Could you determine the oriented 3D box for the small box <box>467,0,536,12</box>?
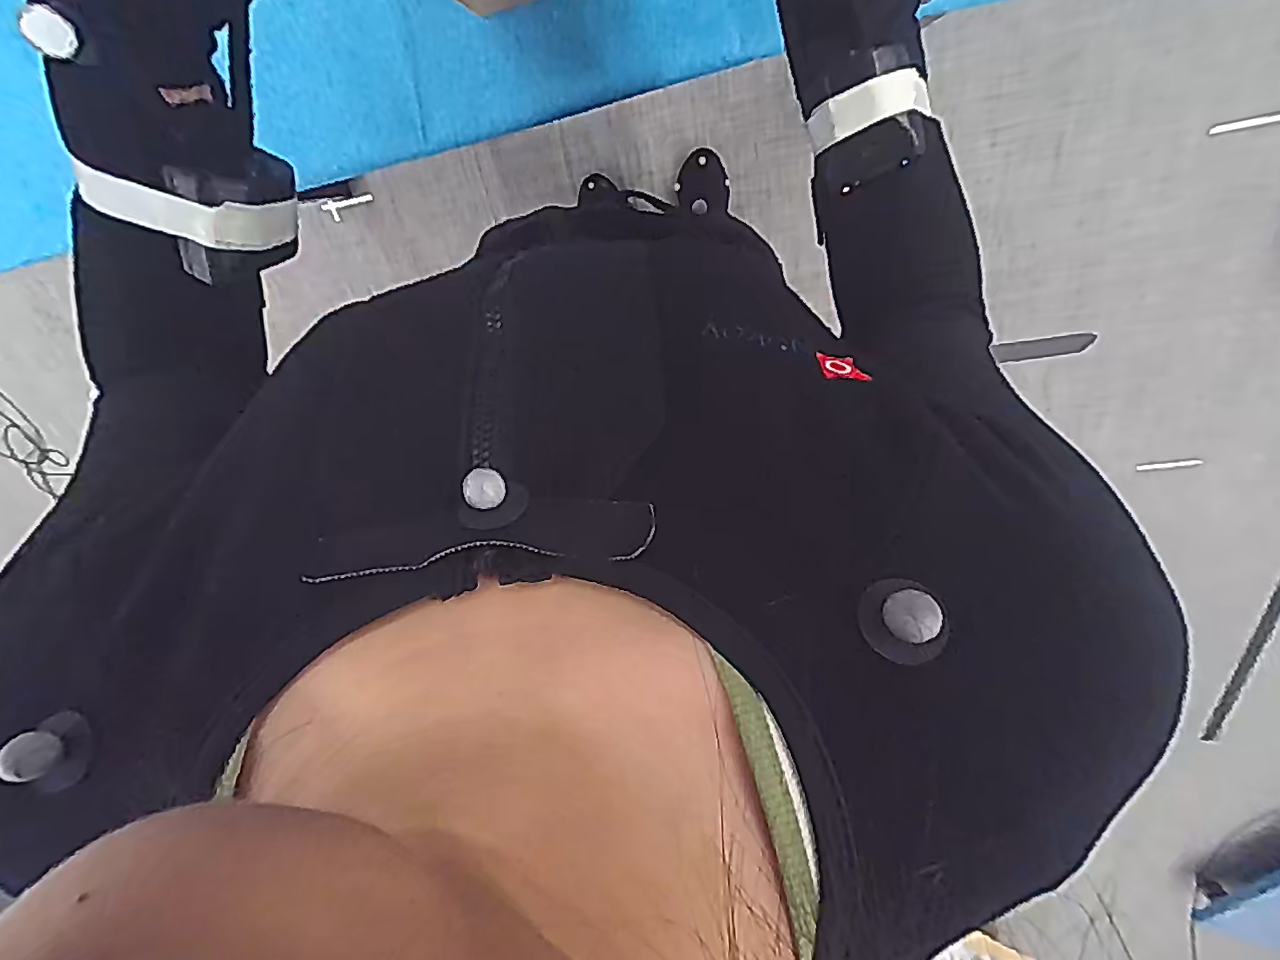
[{"bbox_3d":[-0.097,-0.495,0.411,0.179,0.176,0.168,-7,120,10],"label":"small box"}]
